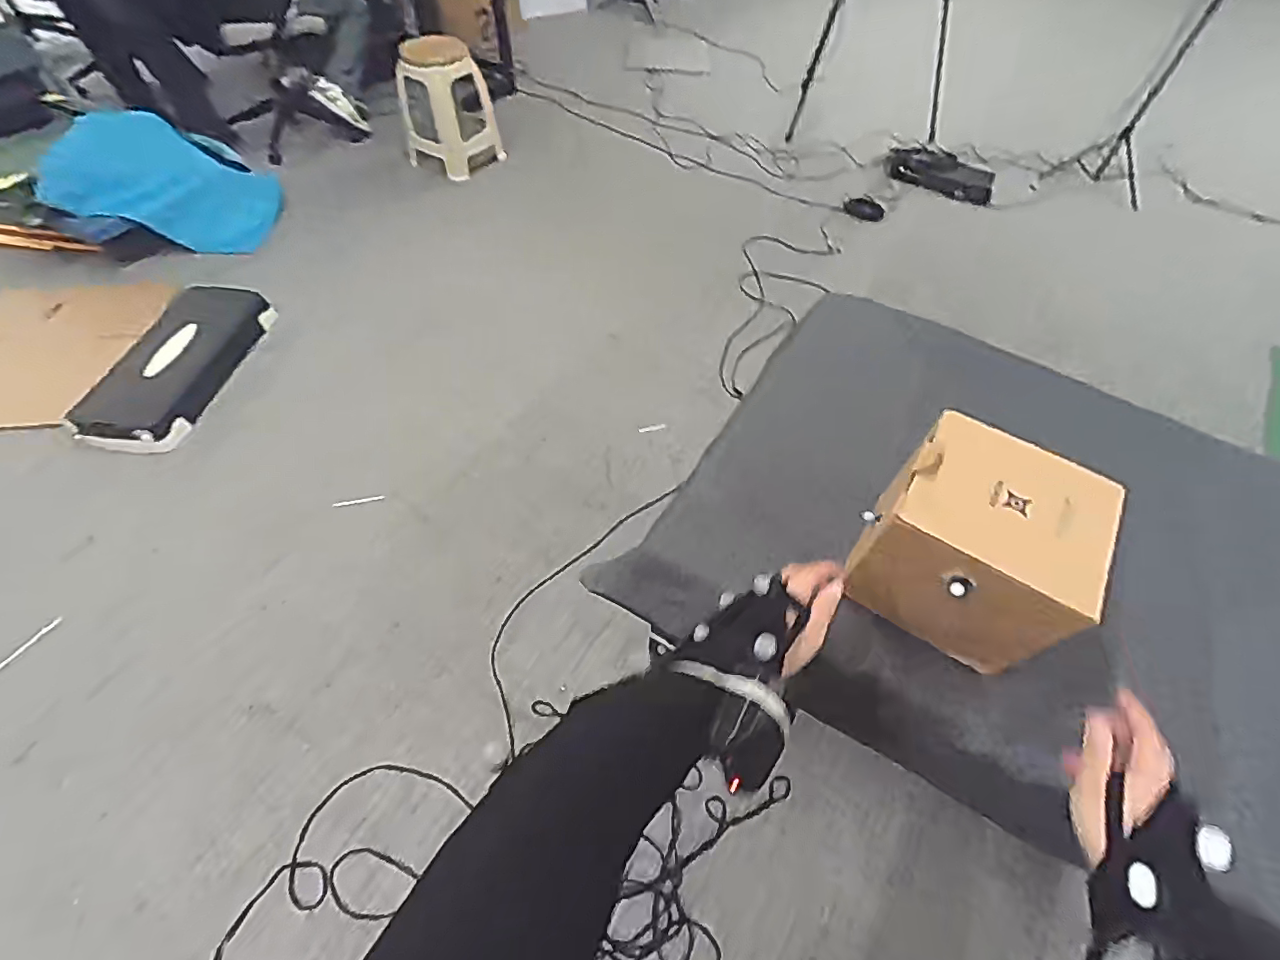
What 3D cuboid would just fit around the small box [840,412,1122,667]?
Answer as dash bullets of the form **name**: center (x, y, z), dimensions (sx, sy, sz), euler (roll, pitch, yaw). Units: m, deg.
- **small box**: center (0.340, 0.067, 0.567), dimensions (0.179, 0.176, 0.168), euler (31, 59, 17)
